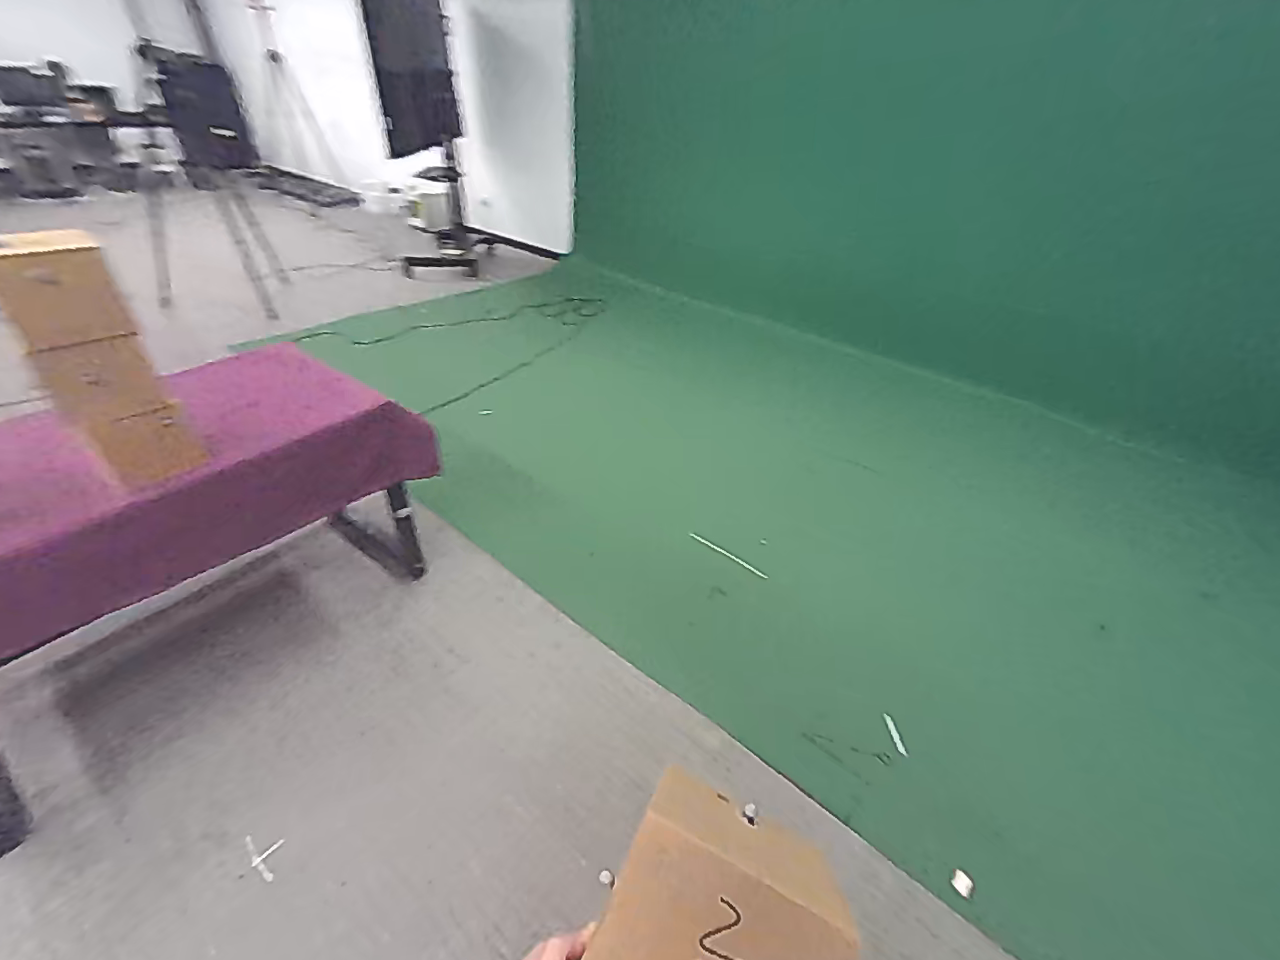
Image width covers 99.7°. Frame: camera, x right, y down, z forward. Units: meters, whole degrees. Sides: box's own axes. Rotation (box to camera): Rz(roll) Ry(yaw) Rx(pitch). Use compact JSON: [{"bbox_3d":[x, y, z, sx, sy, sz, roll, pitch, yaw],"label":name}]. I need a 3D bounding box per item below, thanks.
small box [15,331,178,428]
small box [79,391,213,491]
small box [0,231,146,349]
[{"bbox_3d":[-1.128,-0.230,1.131,0.168,0.176,0.179,30,44,31],"label":"small box"},{"bbox_3d":[-1.133,-0.101,1.234,0.168,0.176,0.179,27,42,28],"label":"small box"},{"bbox_3d":[-1.112,-0.366,1.038,0.168,0.176,0.179,30,42,31],"label":"small box"}]
